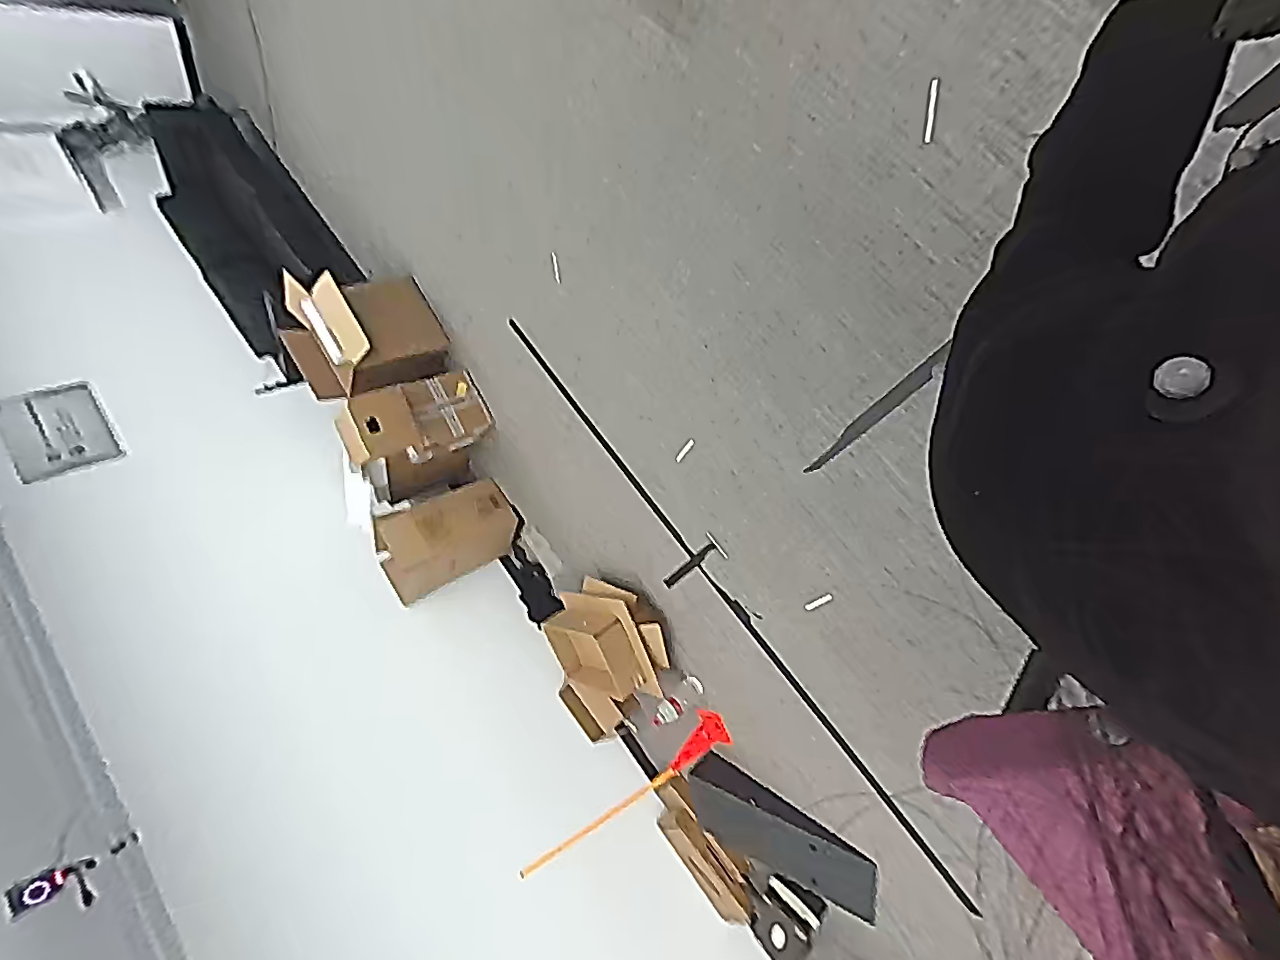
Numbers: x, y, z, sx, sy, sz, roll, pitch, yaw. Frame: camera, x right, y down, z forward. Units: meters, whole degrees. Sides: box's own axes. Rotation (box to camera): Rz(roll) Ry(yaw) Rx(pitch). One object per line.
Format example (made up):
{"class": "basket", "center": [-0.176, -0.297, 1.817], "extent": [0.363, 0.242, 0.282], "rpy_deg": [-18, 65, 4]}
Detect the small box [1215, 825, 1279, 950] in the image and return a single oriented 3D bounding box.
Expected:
{"class": "small box", "center": [0.794, 0.510, 0.588], "extent": [0.179, 0.176, 0.168], "rpy_deg": [52, 143, 12]}
